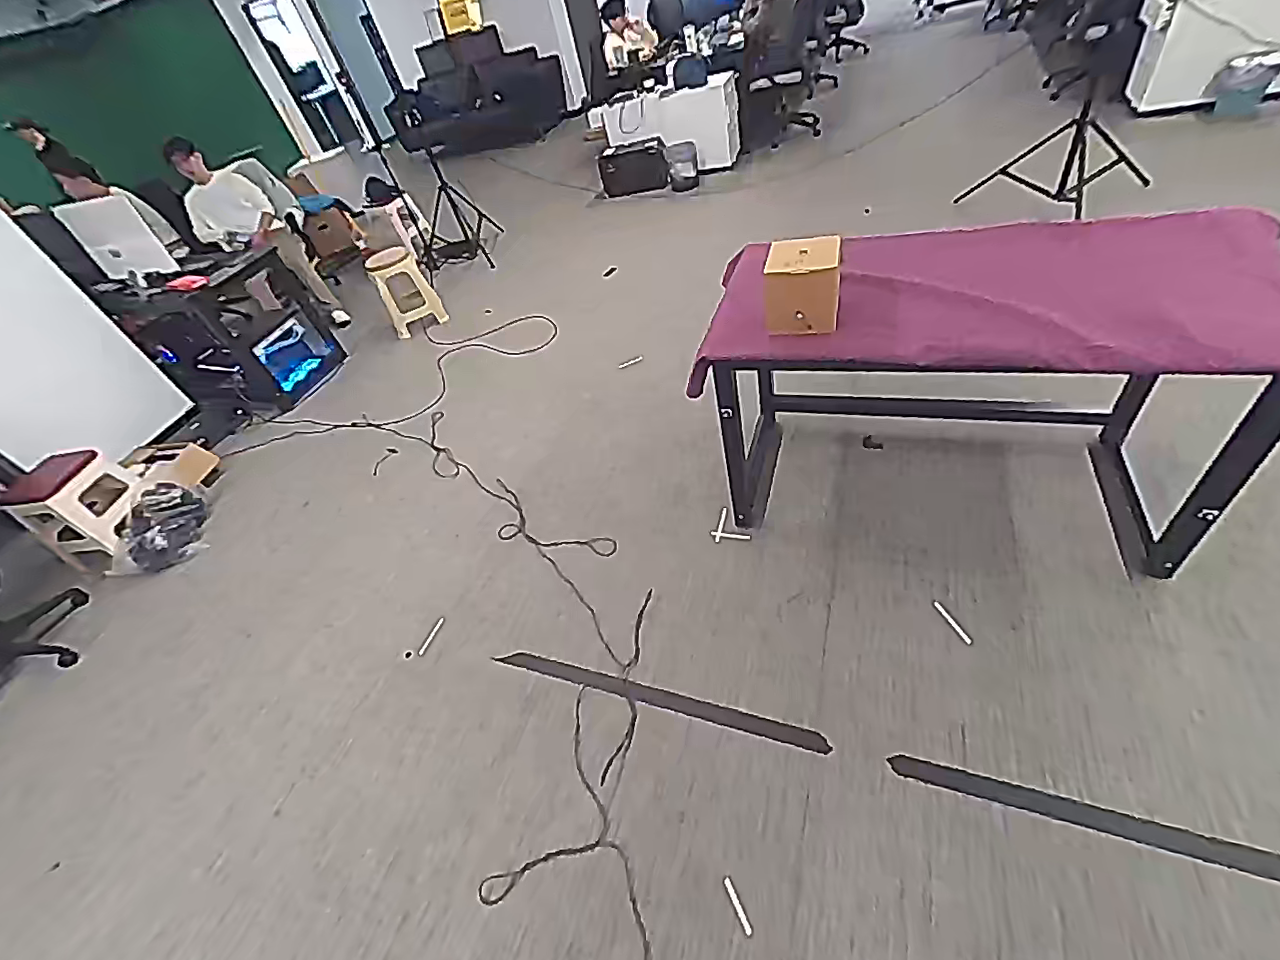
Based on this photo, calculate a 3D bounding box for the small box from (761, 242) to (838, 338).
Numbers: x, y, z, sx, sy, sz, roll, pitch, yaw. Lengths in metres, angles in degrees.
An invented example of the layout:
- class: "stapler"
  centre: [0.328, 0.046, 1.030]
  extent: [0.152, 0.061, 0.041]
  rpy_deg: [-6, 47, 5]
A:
- class: "small box"
  centre: [0.401, -0.473, 1.354]
  extent: [0.168, 0.176, 0.179]
  rpy_deg: [3, 47, 21]
